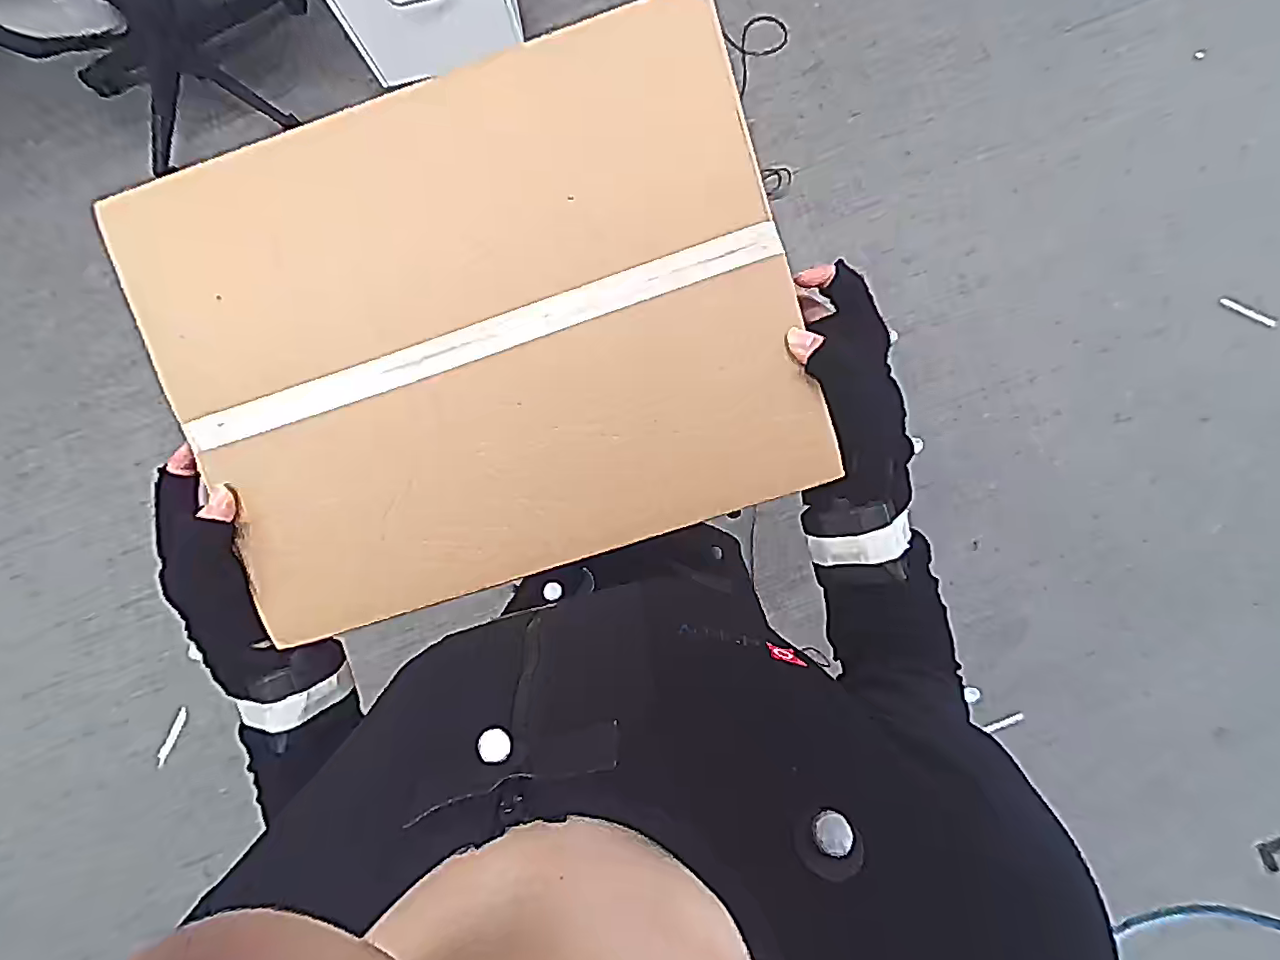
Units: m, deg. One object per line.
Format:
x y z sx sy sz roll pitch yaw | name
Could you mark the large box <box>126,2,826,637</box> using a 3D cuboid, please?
-0.102 -0.110 0.508 0.408 0.320 0.320 -18 95 4 | large box
